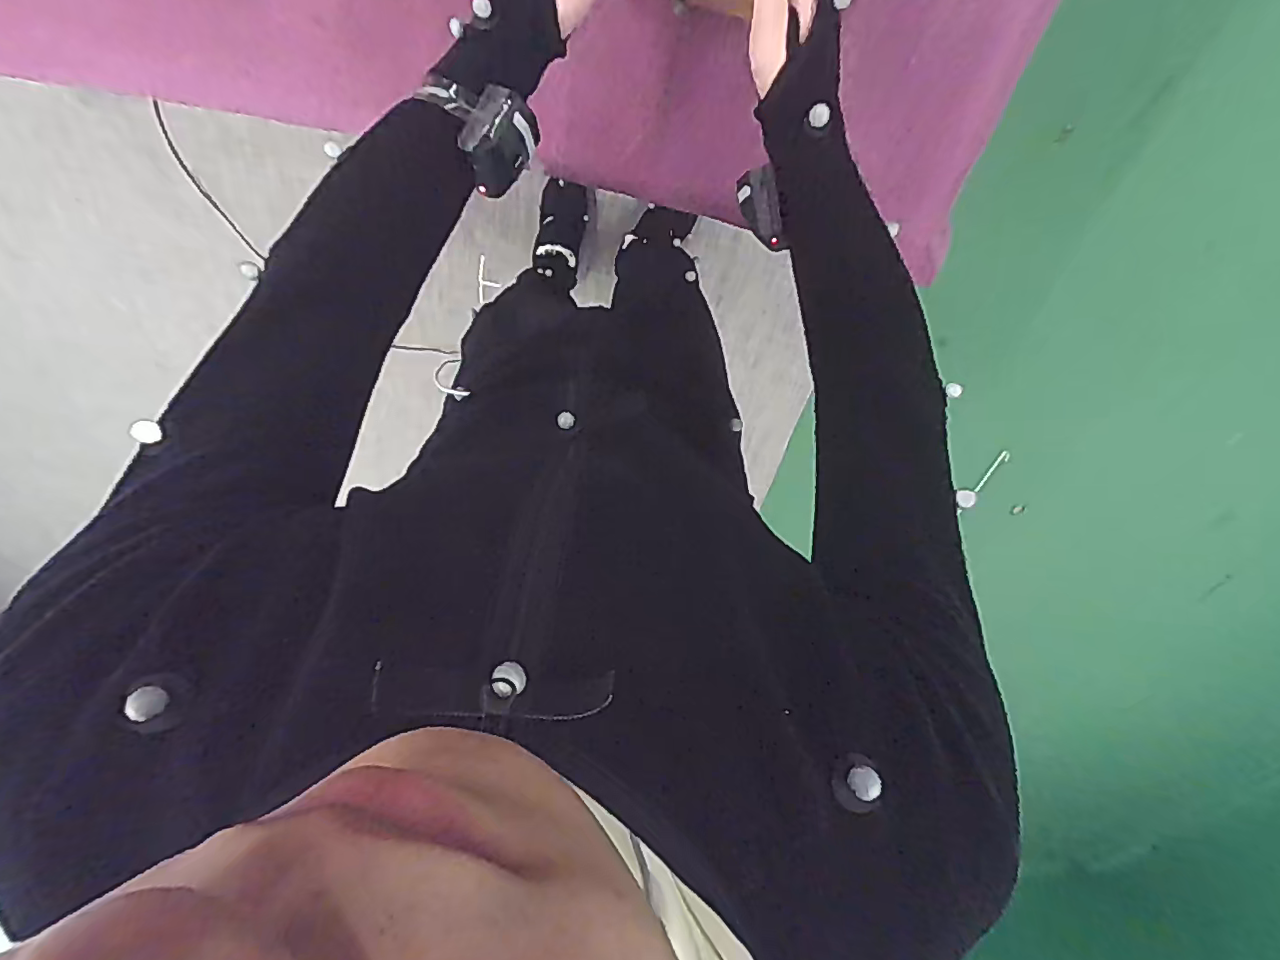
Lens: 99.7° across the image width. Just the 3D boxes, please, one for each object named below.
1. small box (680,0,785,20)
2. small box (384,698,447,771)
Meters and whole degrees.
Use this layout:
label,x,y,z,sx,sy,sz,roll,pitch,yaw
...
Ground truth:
label,x,y,z,sx,sy,sz,roll,pitch,yaw
small box,0.057,-0.502,0.428,0.168,0.176,0.179,13,127,-5
small box,-0.832,0.946,2.014,0.168,0.176,0.179,14,126,-4
